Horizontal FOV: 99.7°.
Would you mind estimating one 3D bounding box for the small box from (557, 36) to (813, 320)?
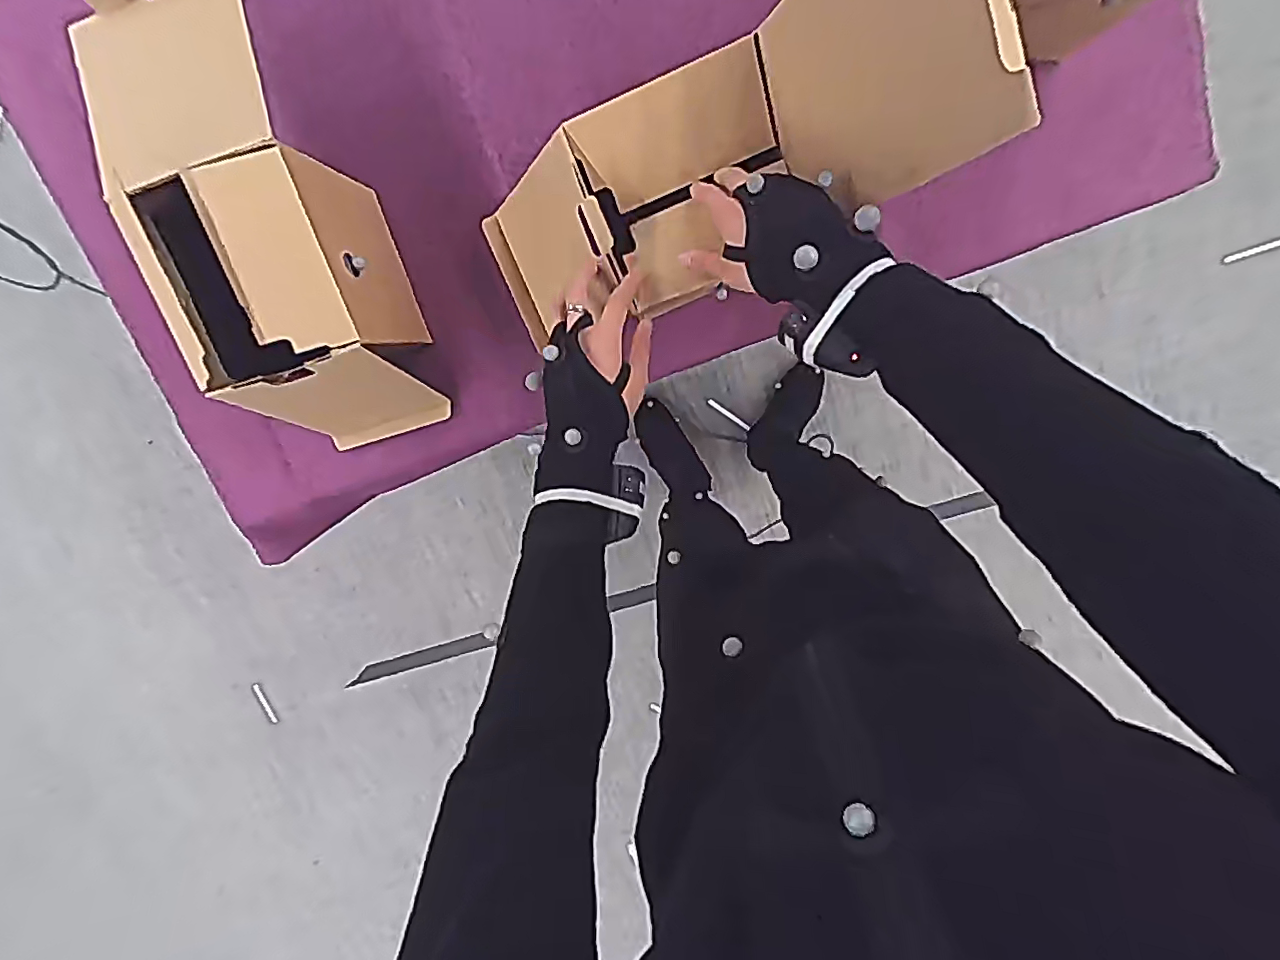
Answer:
[{"bbox_3d":[0.042,-0.266,0.529,0.179,0.176,0.168,-21,103,6],"label":"small box"}]

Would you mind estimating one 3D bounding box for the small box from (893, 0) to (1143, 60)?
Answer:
[{"bbox_3d":[0.350,-0.494,0.458,0.179,0.176,0.168,7,104,0],"label":"small box"}]
